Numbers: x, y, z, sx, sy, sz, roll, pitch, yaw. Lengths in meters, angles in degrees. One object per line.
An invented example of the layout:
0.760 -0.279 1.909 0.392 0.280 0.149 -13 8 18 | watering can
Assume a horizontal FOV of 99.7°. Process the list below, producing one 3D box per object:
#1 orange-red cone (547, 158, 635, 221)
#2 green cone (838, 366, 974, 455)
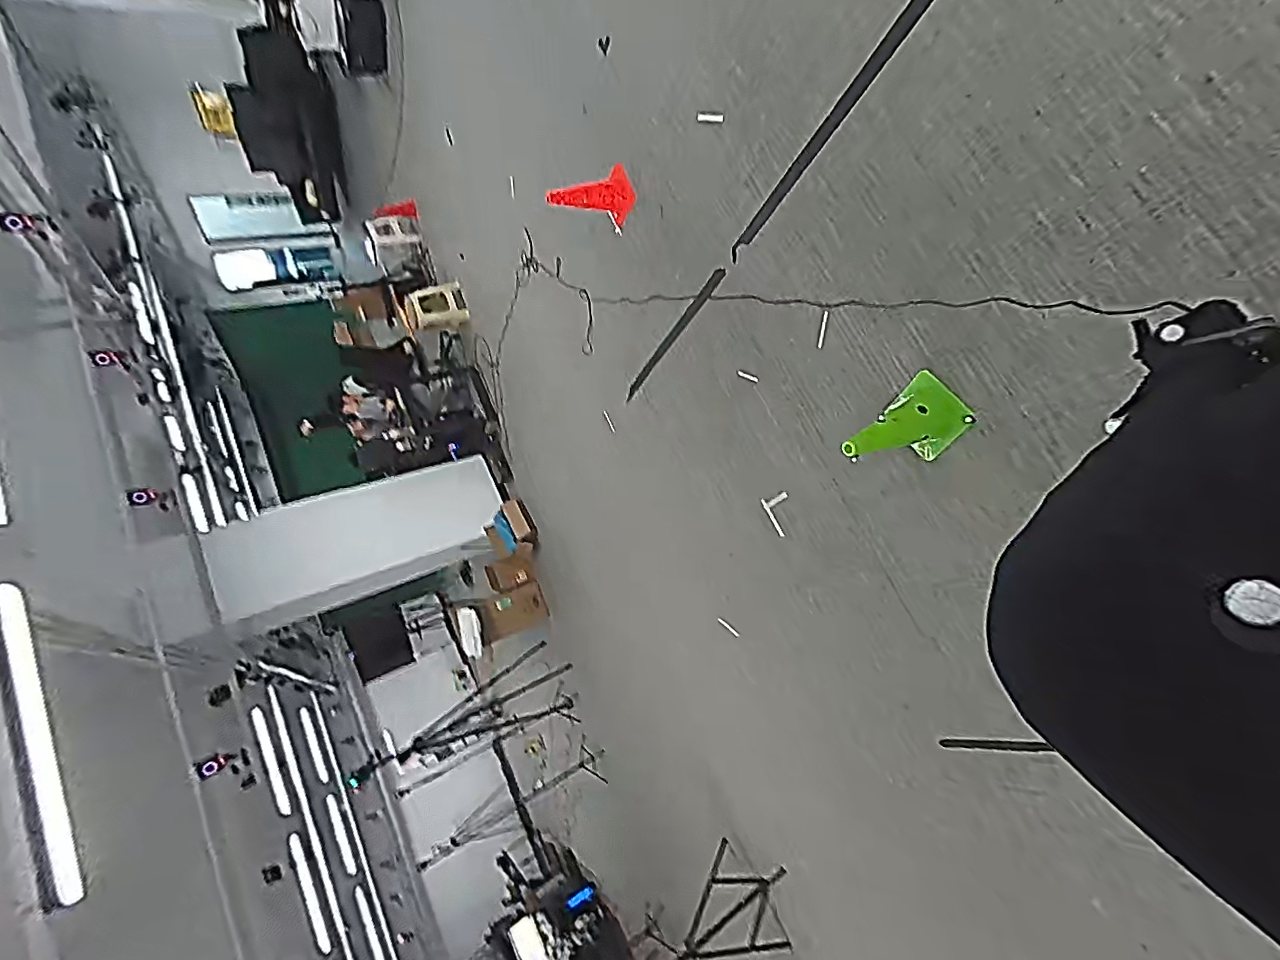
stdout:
-0.234 -1.253 2.347 0.199 0.360 0.198 -29 82 60 | orange-red cone
0.667 -0.144 1.446 0.200 0.368 0.202 57 150 25 | green cone
